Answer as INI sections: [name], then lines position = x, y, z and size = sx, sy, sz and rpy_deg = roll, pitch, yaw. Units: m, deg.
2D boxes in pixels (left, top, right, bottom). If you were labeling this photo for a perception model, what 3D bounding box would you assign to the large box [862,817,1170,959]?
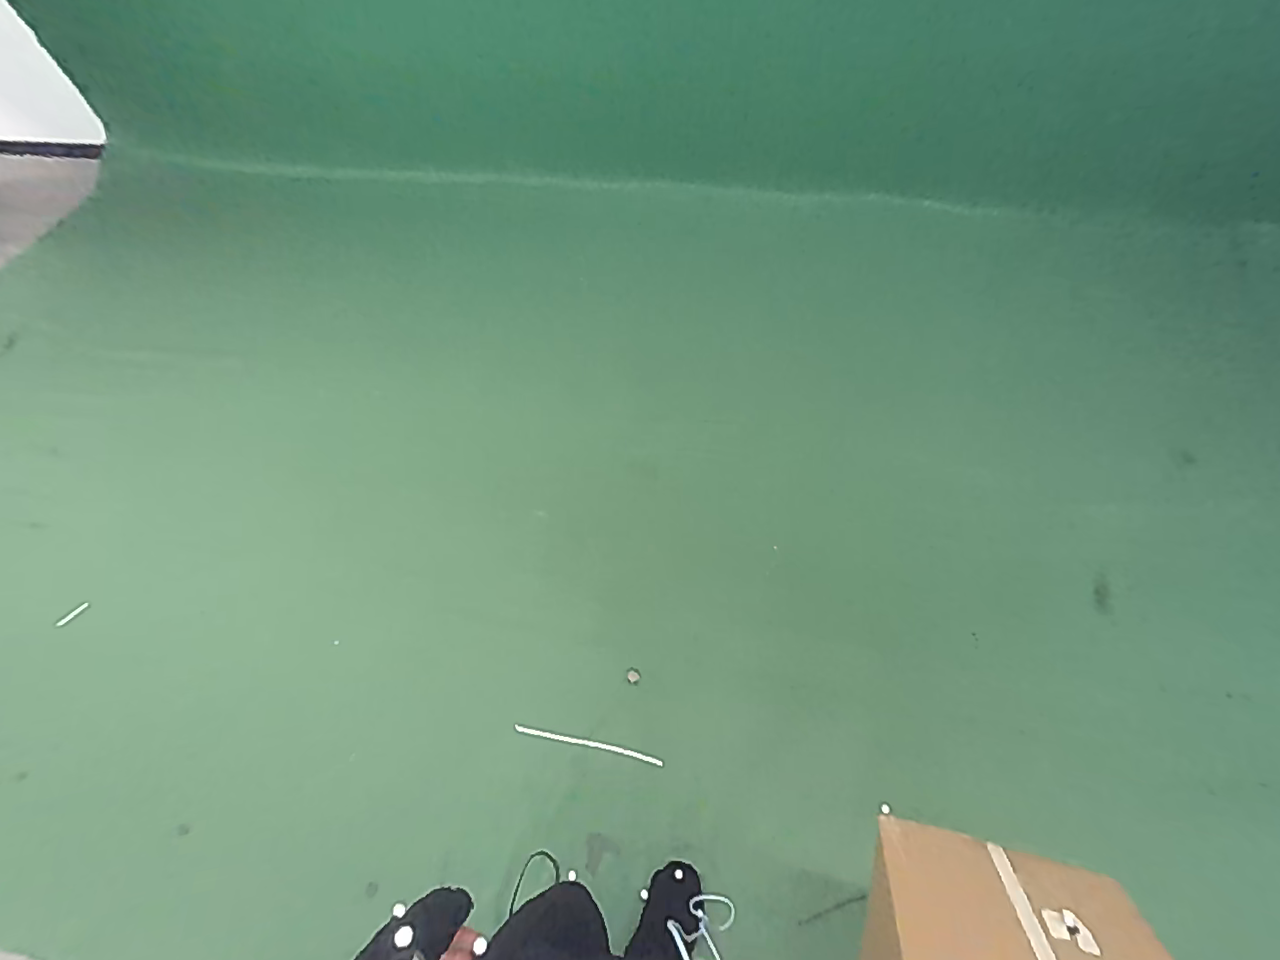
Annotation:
[large box]
position = 0.445, 0.699, 0.622
size = 0.320, 0.408, 0.320
rpy_deg = 8, 95, 17
